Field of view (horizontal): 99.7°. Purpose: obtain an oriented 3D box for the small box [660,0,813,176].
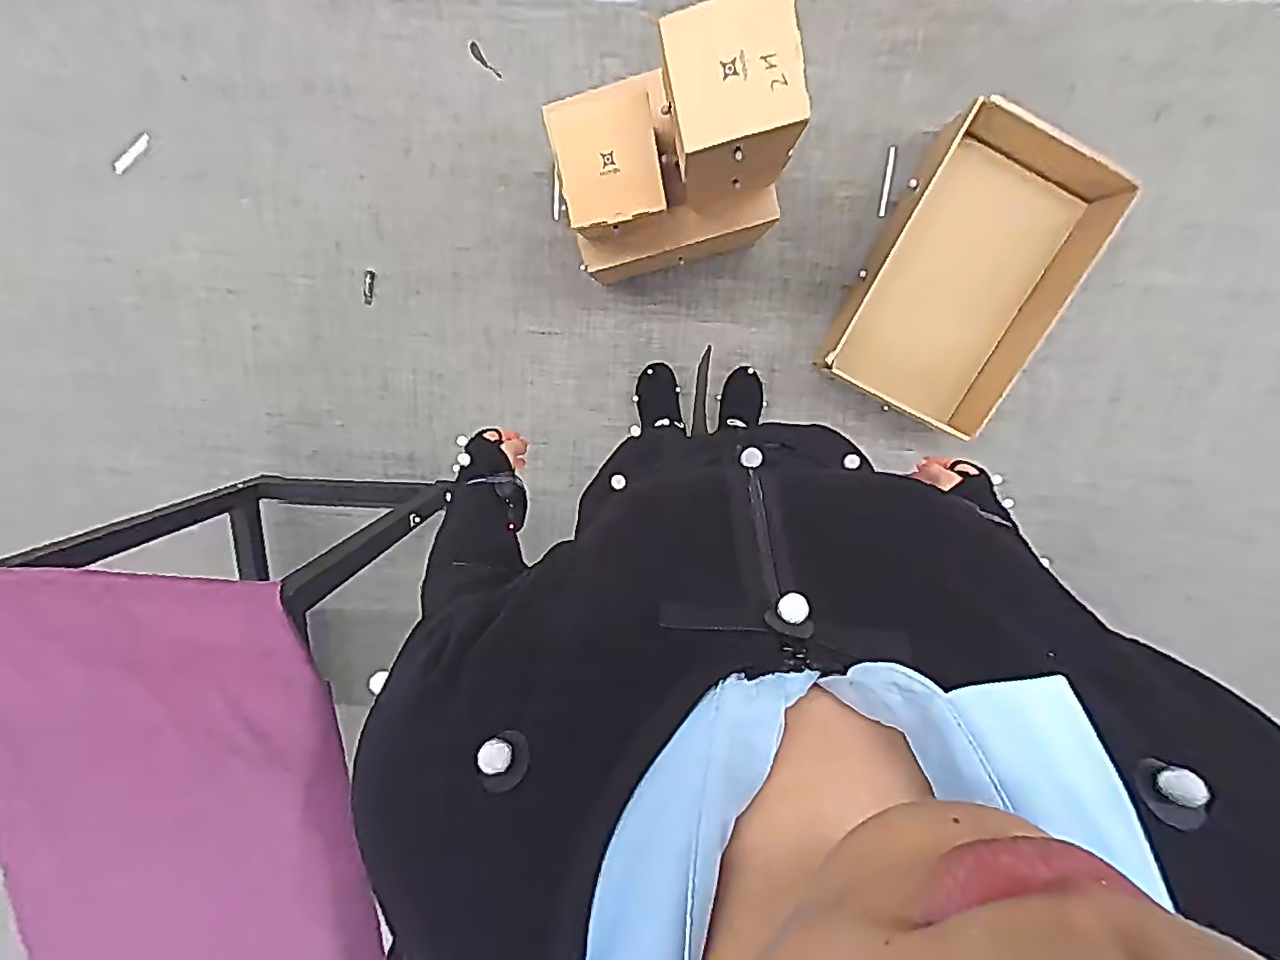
[{"bbox_3d":[0.133,-0.563,0.778,0.179,0.176,0.168,-12,105,7],"label":"small box"}]
